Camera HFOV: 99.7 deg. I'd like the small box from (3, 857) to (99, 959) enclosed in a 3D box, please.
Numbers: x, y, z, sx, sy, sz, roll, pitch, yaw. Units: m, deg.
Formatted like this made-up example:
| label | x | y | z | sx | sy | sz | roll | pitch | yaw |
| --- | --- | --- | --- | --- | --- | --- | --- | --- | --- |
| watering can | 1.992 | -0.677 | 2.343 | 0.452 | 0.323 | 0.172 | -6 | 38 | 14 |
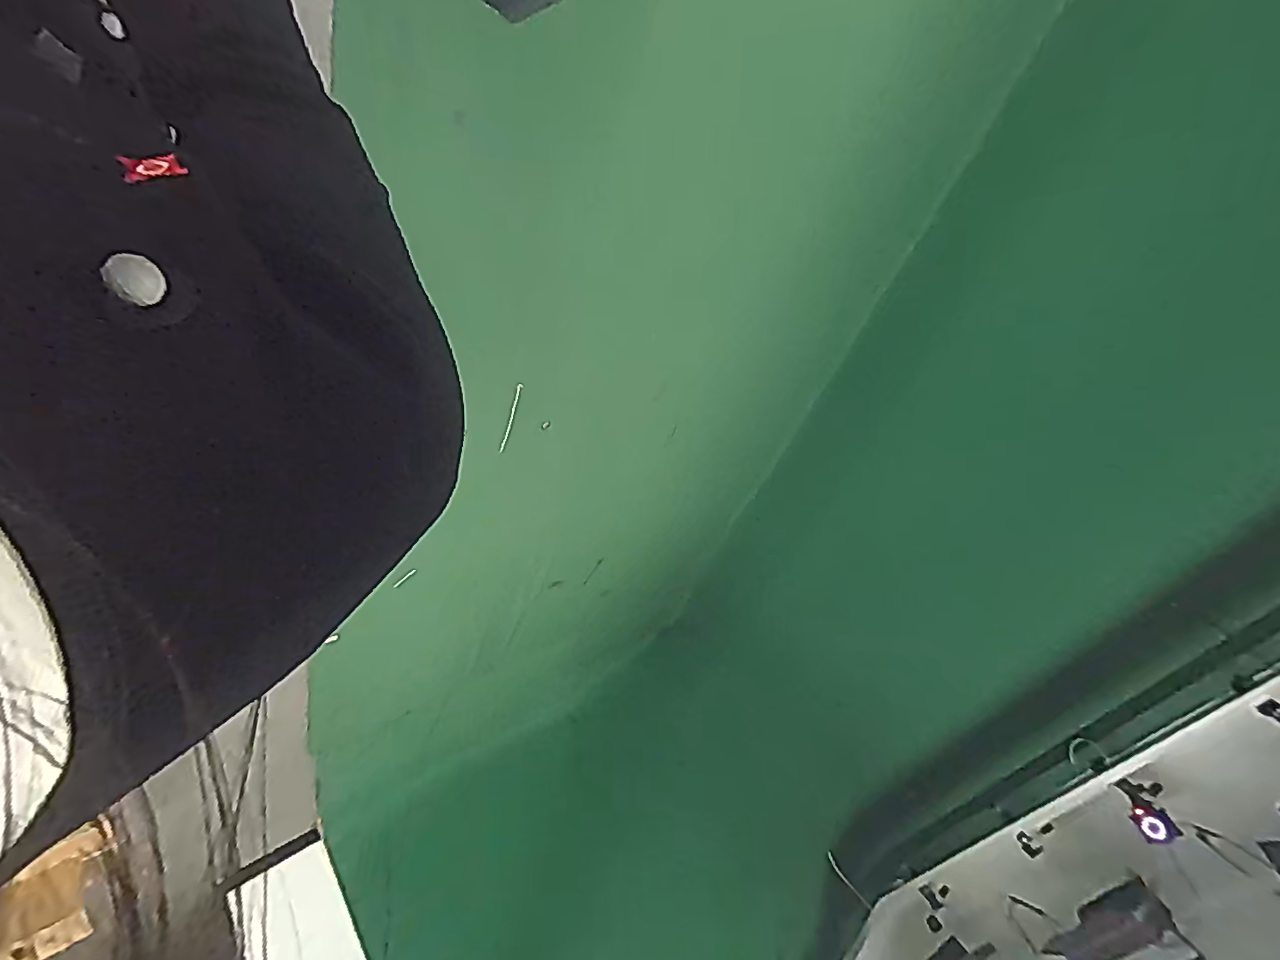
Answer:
| label | x | y | z | sx | sy | sz | roll | pitch | yaw |
| --- | --- | --- | --- | --- | --- | --- | --- | --- | --- |
| small box | -1.701 | 1.253 | 1.562 | 0.179 | 0.176 | 0.168 | -9 | 131 | -48 |
